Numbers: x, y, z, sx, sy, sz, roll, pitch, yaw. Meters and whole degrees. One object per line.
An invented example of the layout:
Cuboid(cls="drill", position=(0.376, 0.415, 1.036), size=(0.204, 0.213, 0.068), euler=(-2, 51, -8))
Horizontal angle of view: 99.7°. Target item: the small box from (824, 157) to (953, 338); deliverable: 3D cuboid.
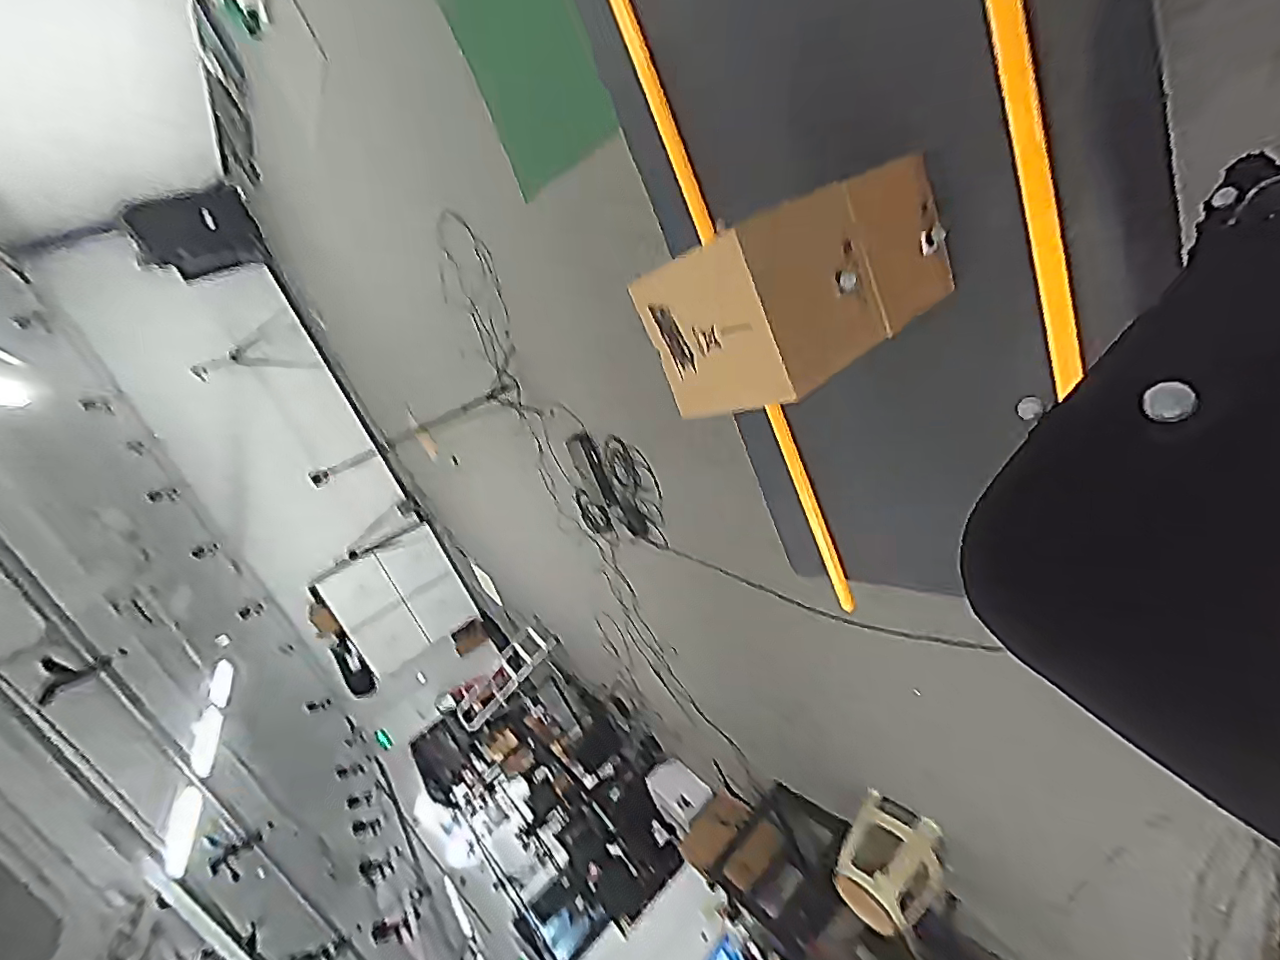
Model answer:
Cuboid(cls="small box", position=(0.250, -0.268, 0.678), size=(0.179, 0.176, 0.168), euler=(-4, 117, 57))

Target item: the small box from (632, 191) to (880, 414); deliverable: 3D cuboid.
Cuboid(cls="small box", position=(0.128, -0.188, 0.601), size=(0.179, 0.176, 0.168), euler=(-1, 119, 57))
